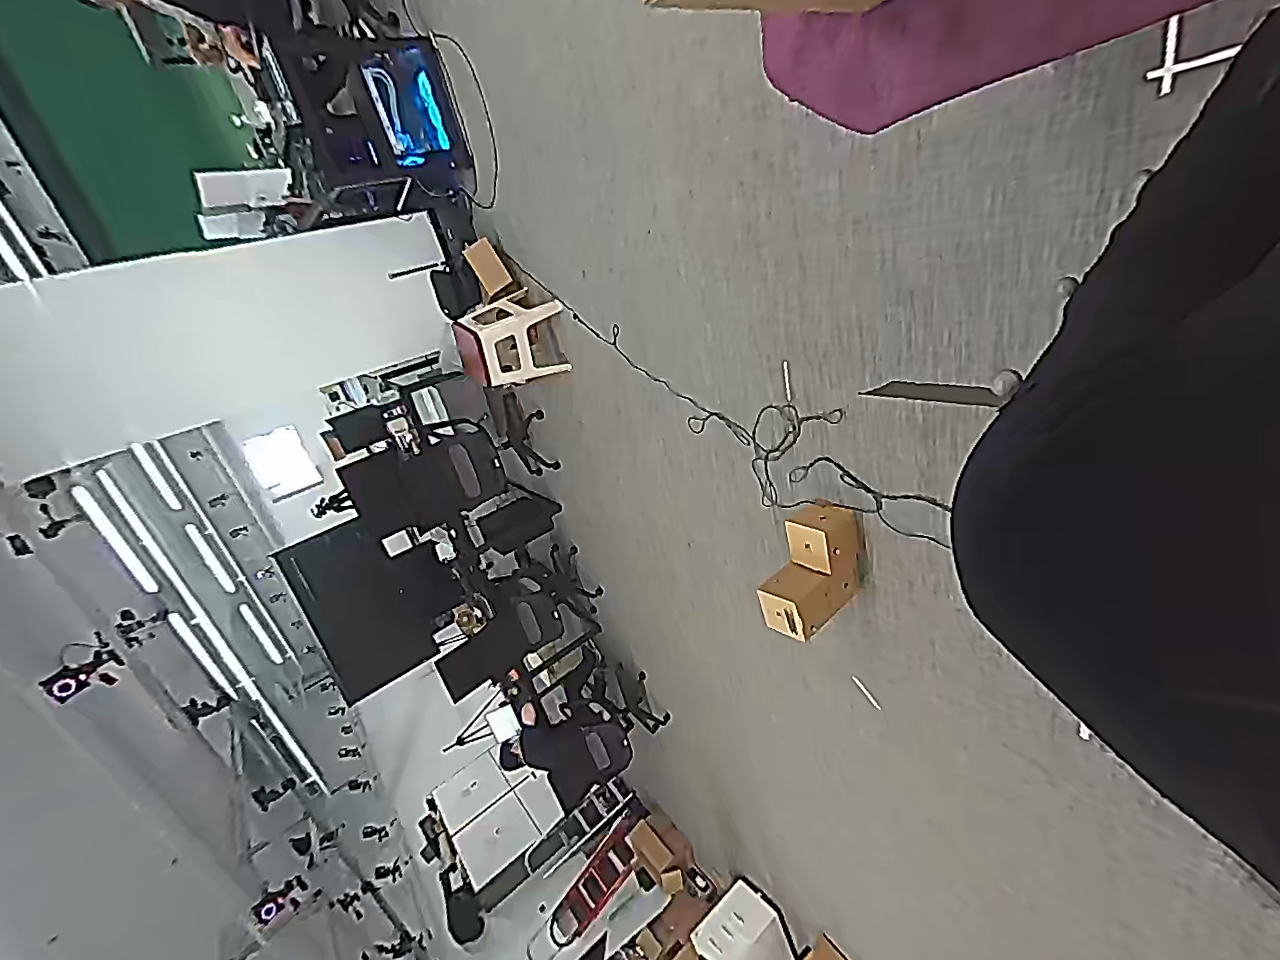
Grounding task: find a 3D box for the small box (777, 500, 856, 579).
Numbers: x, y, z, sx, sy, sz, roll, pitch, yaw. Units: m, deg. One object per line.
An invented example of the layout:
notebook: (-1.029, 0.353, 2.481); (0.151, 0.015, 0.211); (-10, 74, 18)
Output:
small box: (0.596, 0.203, 1.834); (0.179, 0.176, 0.168); (33, 128, 25)
